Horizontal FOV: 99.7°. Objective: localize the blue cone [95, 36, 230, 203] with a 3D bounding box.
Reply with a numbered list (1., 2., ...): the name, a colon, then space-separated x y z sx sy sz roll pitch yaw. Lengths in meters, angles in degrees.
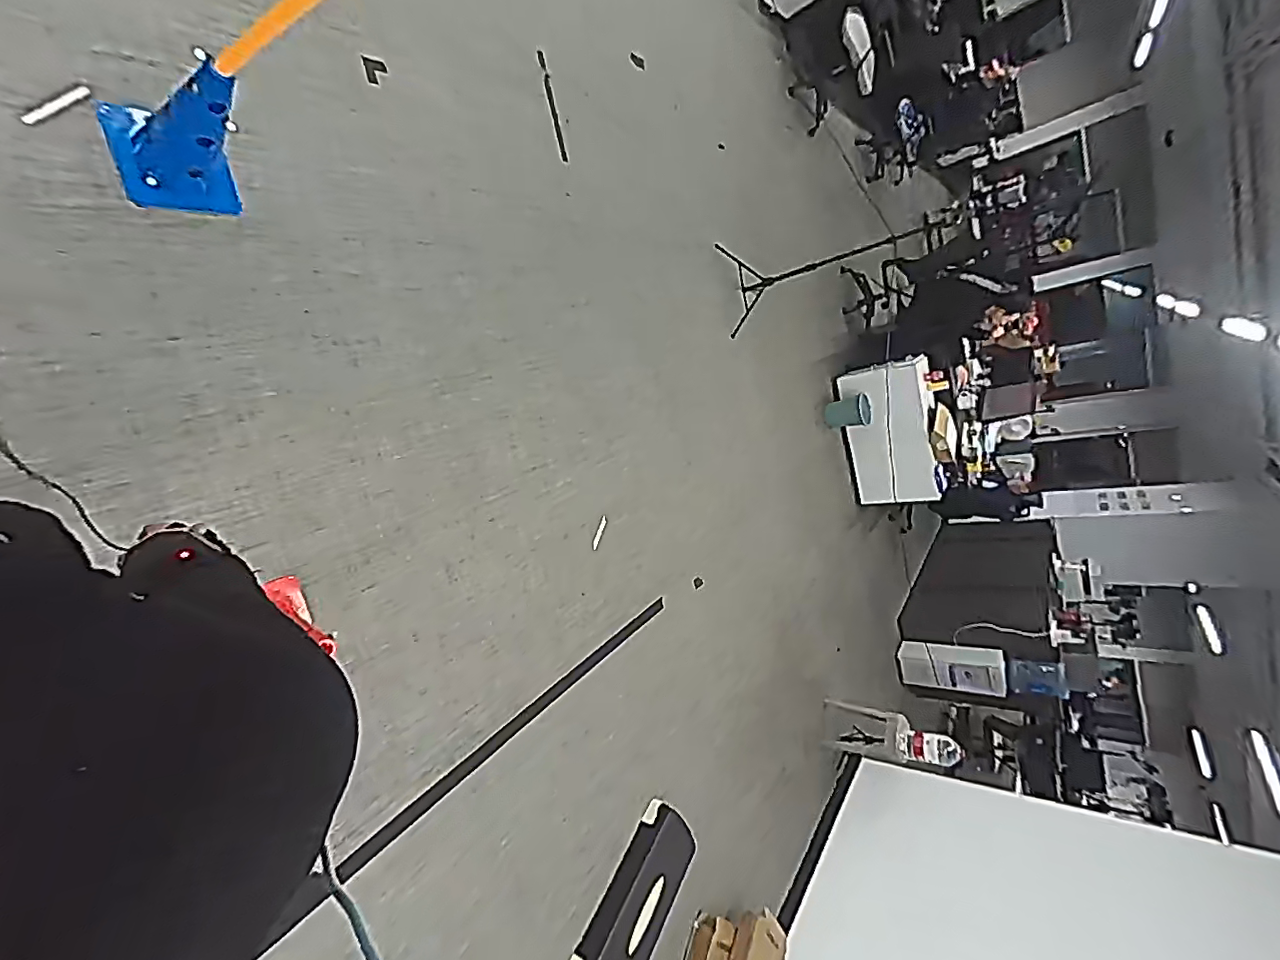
1. blue cone: -0.866 -0.703 1.033 0.193 0.380 0.192 -21 101 -50
